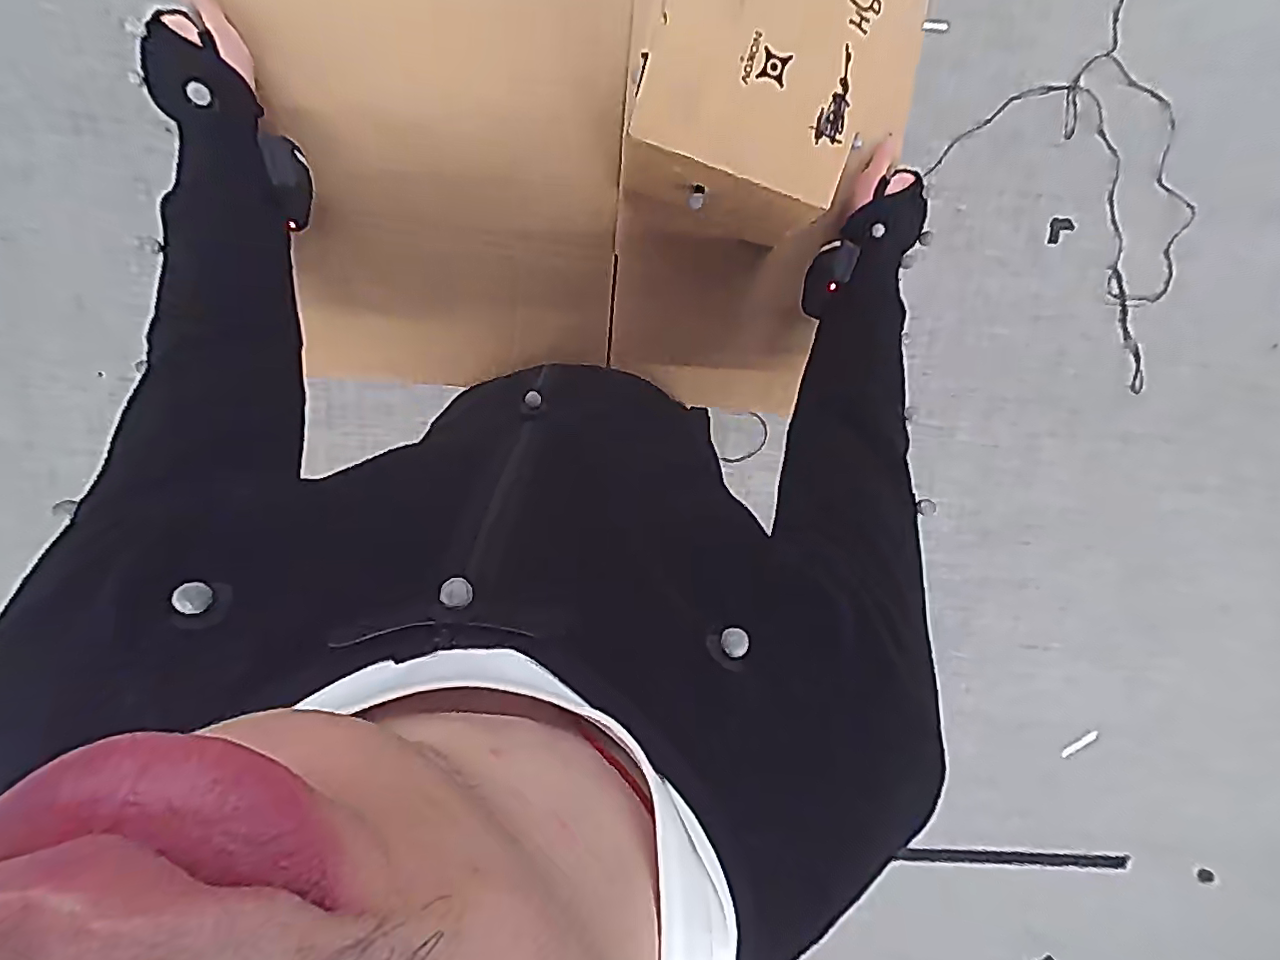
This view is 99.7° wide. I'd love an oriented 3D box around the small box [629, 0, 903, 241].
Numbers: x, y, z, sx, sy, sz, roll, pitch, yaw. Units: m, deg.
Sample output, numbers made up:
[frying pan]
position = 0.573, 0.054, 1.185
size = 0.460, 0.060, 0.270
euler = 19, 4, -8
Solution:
[small box]
position = 0.095, -0.341, 0.500
size = 0.179, 0.176, 0.168
euler = 17, 102, -5
